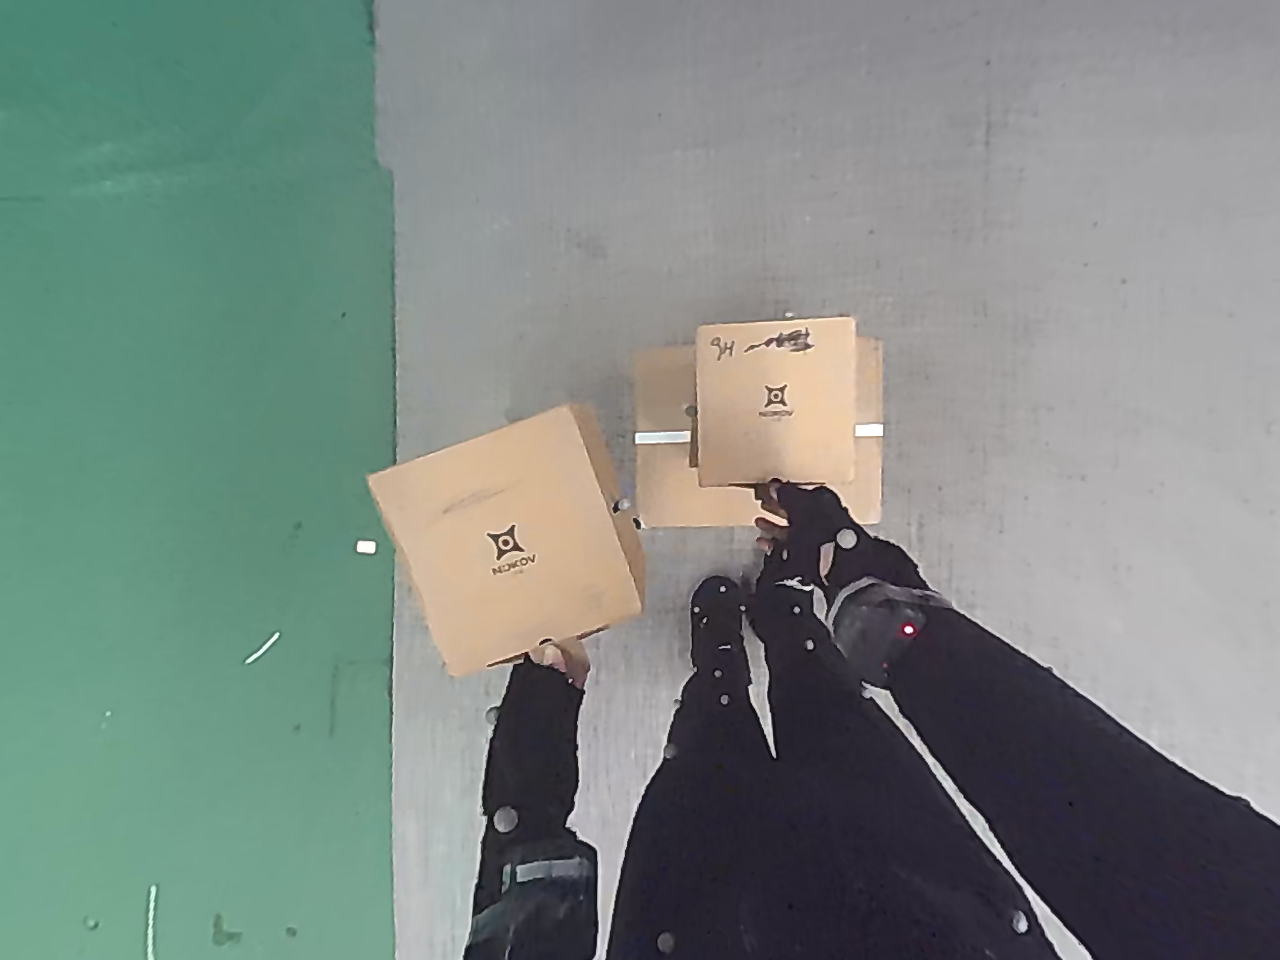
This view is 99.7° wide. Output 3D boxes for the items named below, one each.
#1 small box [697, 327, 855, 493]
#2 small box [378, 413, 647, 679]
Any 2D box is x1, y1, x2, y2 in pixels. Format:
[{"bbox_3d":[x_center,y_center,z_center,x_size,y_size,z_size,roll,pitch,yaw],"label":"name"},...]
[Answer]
[{"bbox_3d":[0.155,-0.082,0.659,0.168,0.176,0.179,-1,96,7],"label":"small box"},{"bbox_3d":[-0.096,0.044,0.499,0.168,0.176,0.179,-20,96,2],"label":"small box"}]
